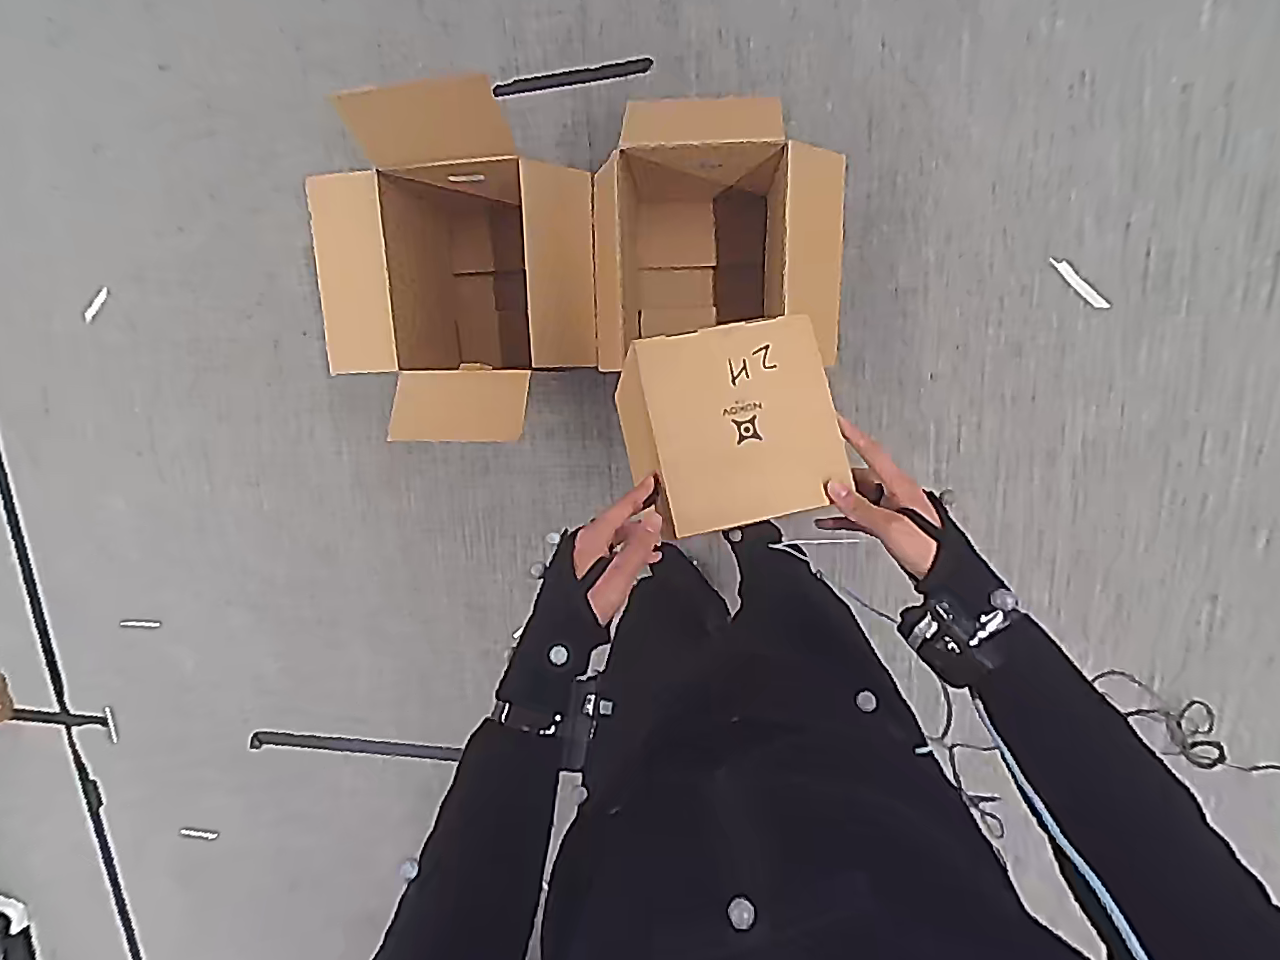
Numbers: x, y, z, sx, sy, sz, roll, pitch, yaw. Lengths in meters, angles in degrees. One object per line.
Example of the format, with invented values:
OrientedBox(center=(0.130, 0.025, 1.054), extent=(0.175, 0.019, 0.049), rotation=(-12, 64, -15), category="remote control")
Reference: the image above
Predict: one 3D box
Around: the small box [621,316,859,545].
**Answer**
OrientedBox(center=(0.082, -0.036, 0.534), extent=(0.168, 0.176, 0.179), rotation=(-11, 84, -9), category="small box")
